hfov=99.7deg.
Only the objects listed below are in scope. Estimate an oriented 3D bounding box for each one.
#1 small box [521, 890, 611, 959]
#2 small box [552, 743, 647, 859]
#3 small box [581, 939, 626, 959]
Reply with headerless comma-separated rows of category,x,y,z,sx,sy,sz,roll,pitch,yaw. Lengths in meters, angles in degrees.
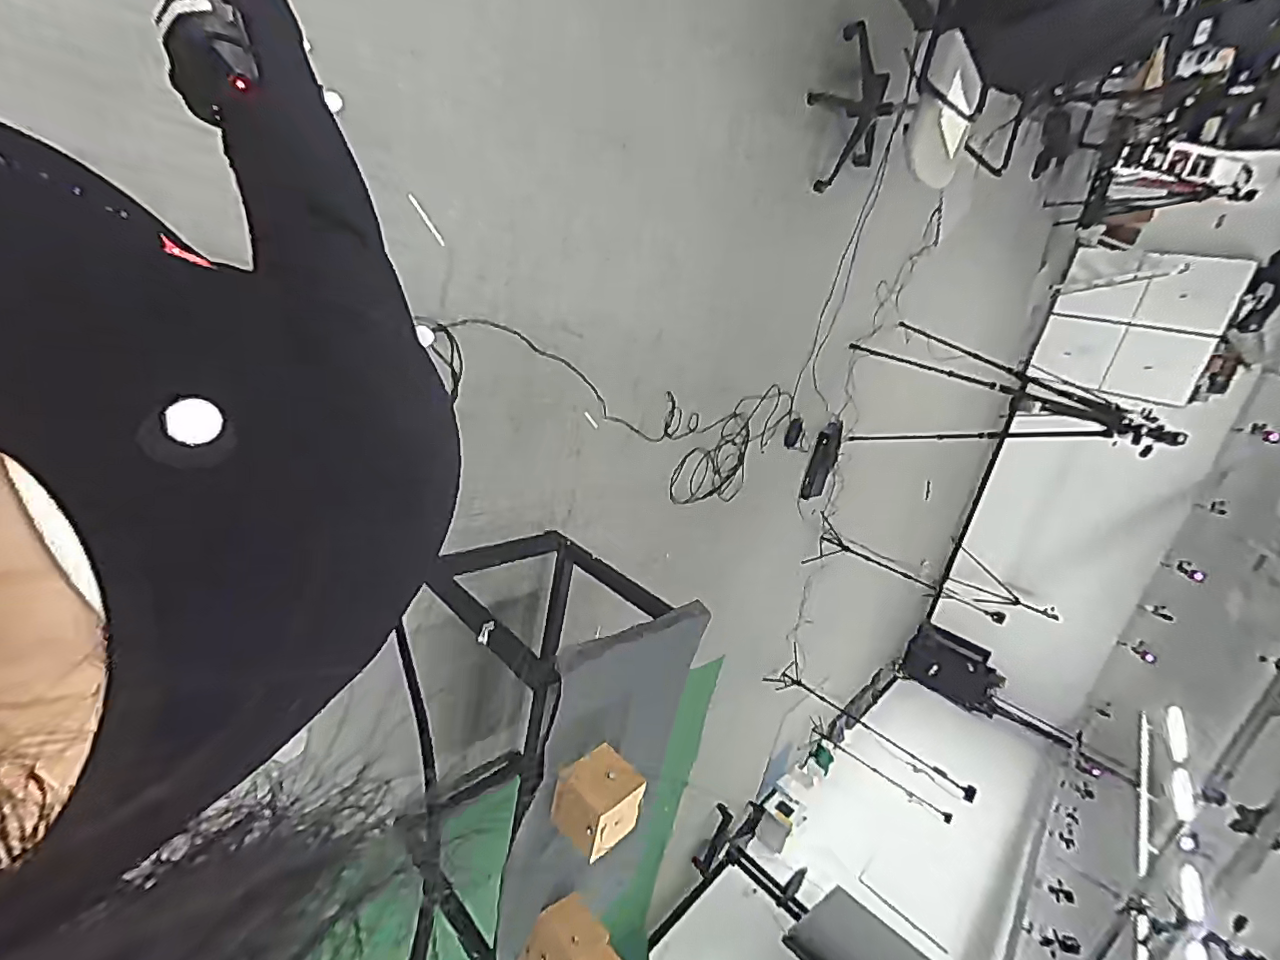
small box,-0.225,1.399,1.630,0.179,0.176,0.168,22,93,-54
small box,-0.111,0.854,1.461,0.179,0.176,0.168,-9,117,-48
small box,-0.119,1.474,1.530,0.179,0.176,0.168,14,101,-54
